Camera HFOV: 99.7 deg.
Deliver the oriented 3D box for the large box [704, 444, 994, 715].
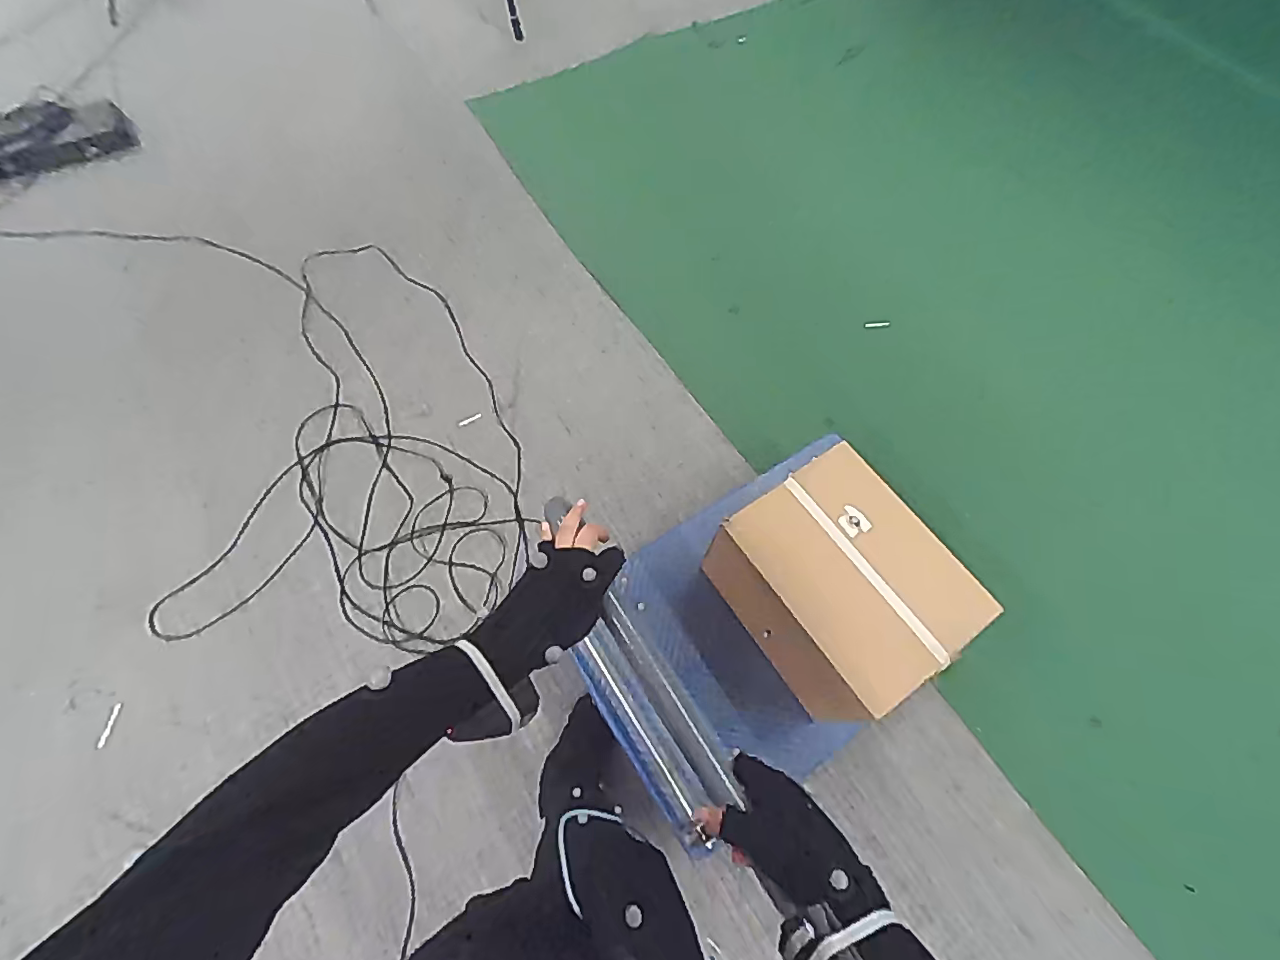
[{"bbox_3d":[0.384,0.213,1.107,0.320,0.320,0.408,-31,70,-15],"label":"large box"}]
